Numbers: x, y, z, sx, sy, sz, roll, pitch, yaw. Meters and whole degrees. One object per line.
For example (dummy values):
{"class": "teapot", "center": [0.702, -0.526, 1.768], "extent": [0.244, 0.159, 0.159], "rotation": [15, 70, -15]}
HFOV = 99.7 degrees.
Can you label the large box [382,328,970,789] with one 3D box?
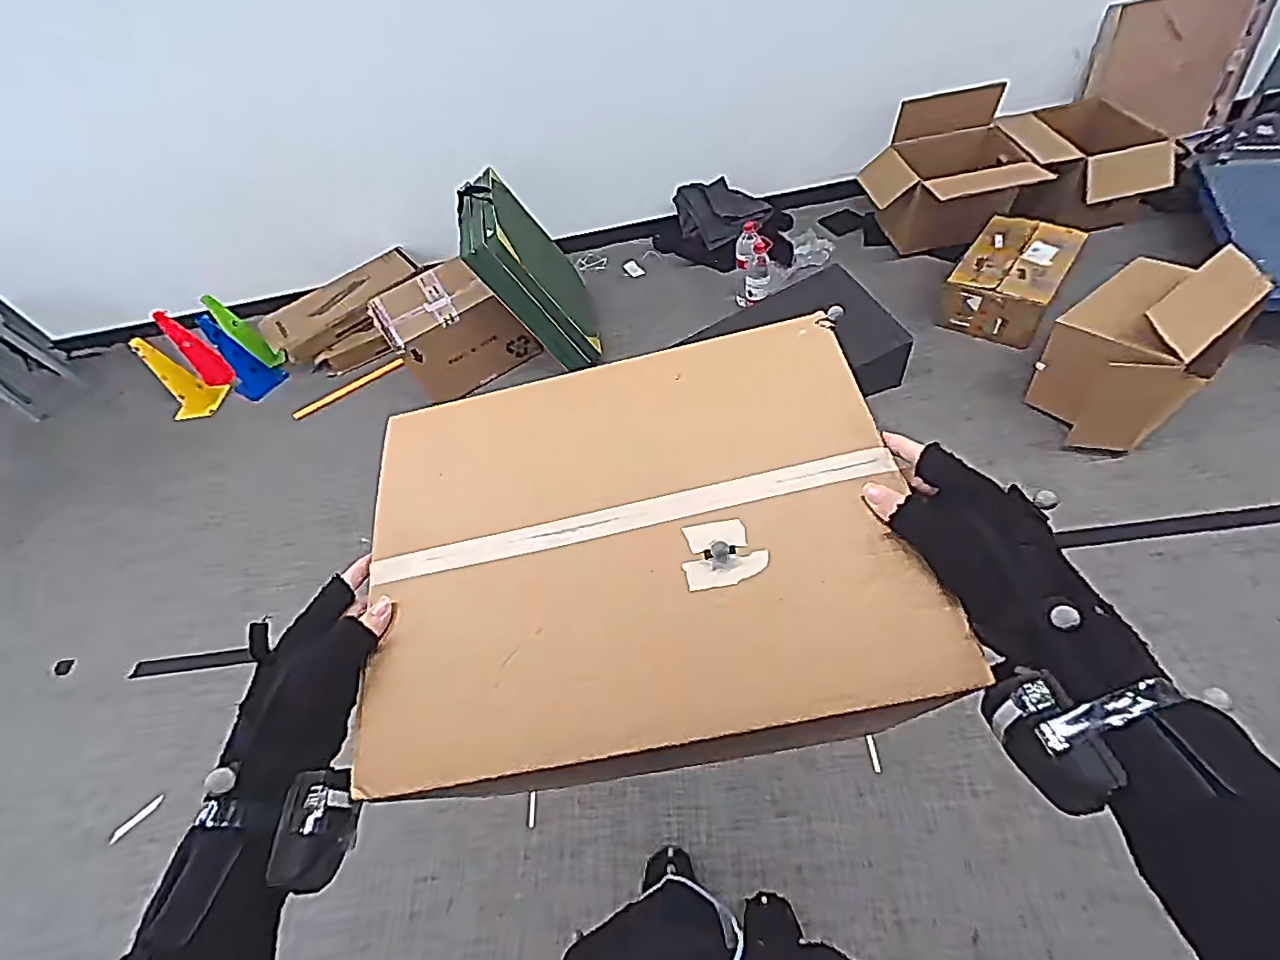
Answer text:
{"class": "large box", "center": [0.018, 0.106, 0.553], "extent": [0.408, 0.320, 0.320], "rotation": [-12, 60, 4]}
